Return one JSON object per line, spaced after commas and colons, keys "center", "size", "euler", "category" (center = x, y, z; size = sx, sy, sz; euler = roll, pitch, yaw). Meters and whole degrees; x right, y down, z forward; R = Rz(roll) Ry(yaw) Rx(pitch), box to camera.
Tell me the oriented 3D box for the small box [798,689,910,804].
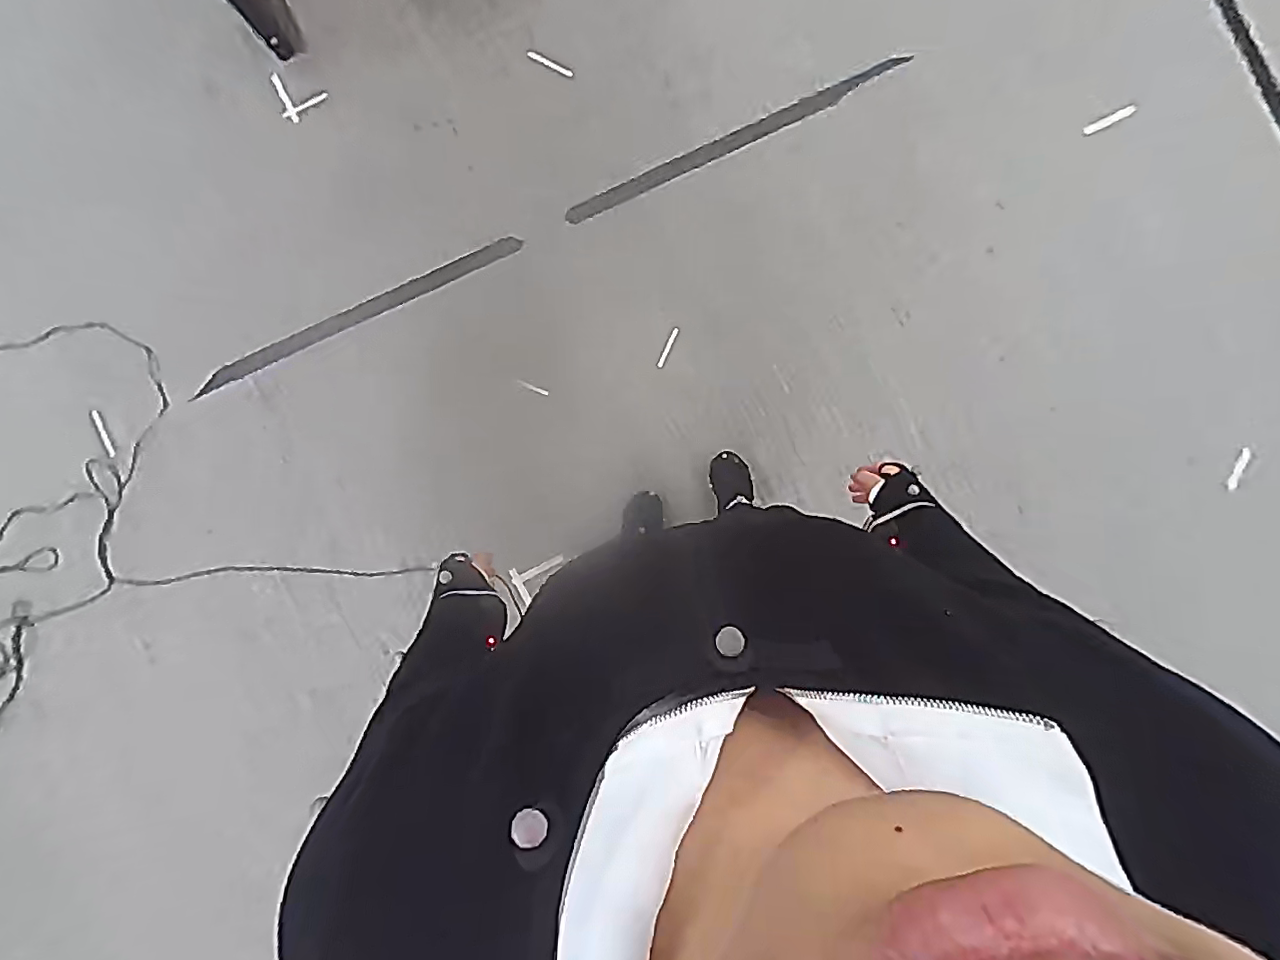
{"center": [0.506, 0.629, 1.307], "size": [0.168, 0.176, 0.179], "euler": [-24, 88, 1], "category": "small box"}
